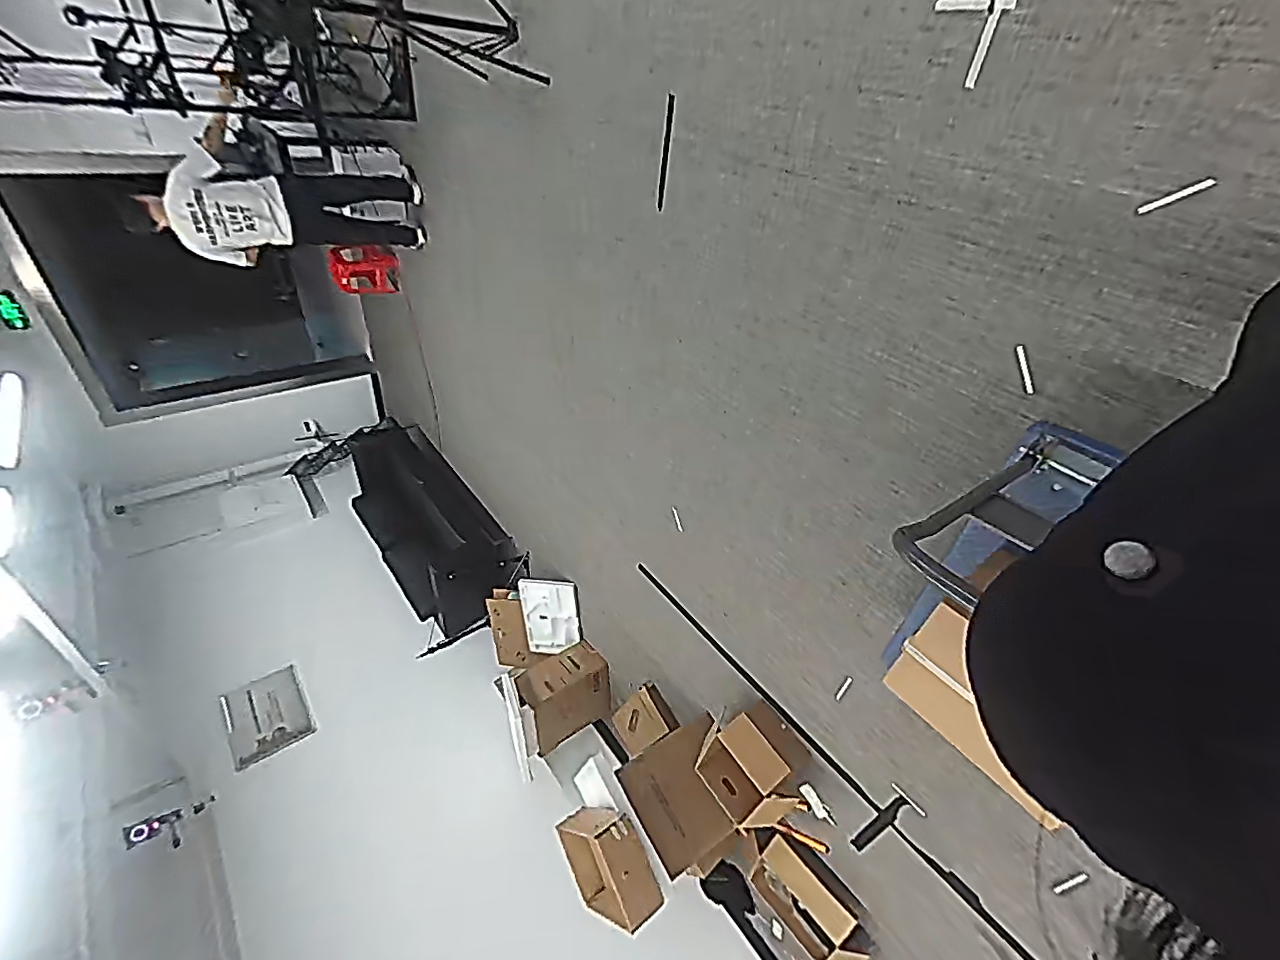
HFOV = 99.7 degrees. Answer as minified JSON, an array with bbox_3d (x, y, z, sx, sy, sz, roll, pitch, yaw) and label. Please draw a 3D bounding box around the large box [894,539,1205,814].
[{"bbox_3d":[0.866,0.401,1.186,0.408,0.320,0.320,41,138,34],"label":"large box"}]
